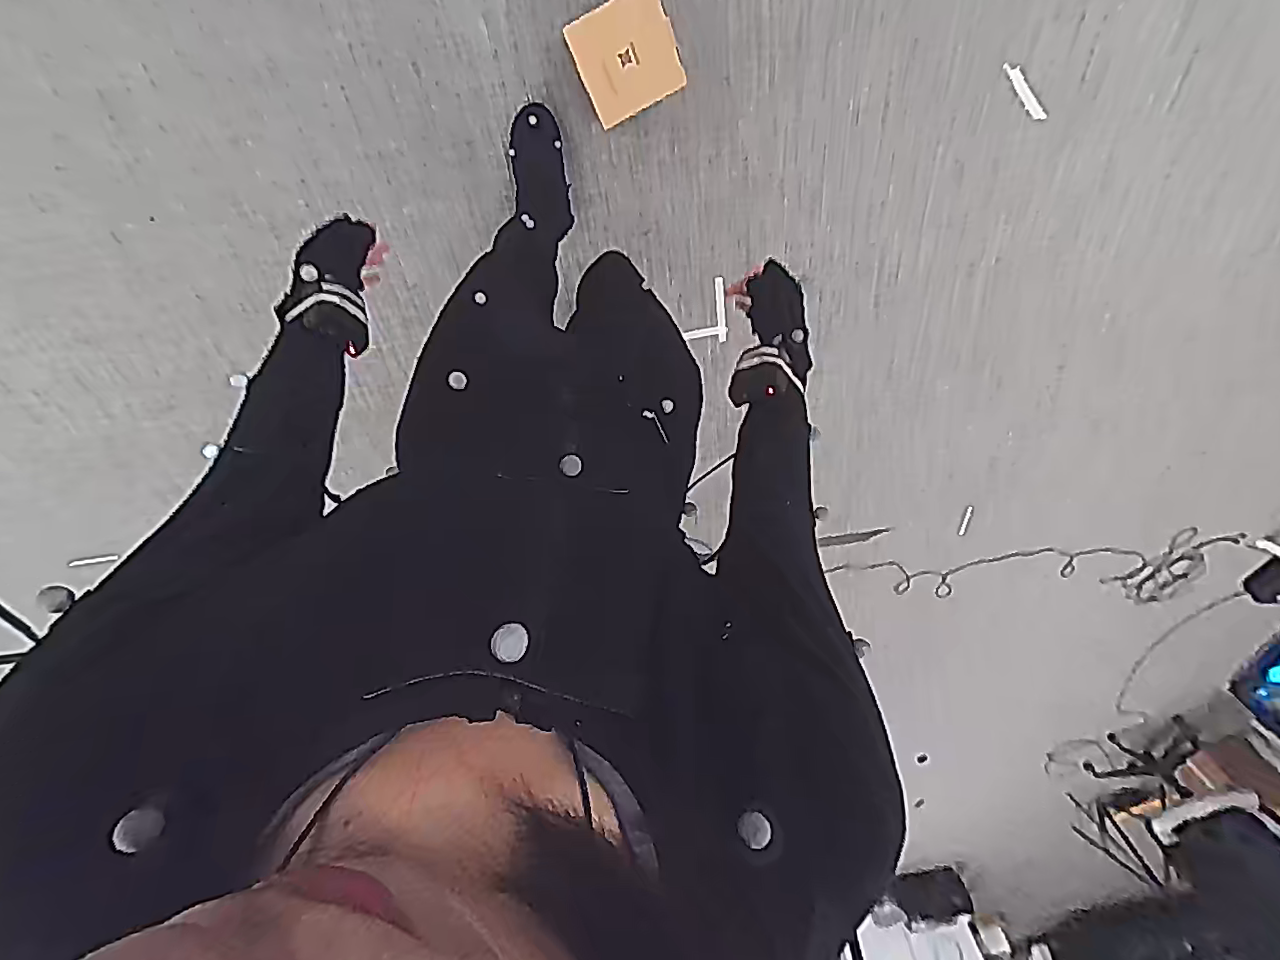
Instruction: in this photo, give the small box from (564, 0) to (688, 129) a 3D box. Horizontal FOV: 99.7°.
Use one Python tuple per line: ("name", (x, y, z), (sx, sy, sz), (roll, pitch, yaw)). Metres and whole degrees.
("small box", (-0.031, -0.796, 1.018), (0.179, 0.176, 0.168), (-23, 125, 11))
